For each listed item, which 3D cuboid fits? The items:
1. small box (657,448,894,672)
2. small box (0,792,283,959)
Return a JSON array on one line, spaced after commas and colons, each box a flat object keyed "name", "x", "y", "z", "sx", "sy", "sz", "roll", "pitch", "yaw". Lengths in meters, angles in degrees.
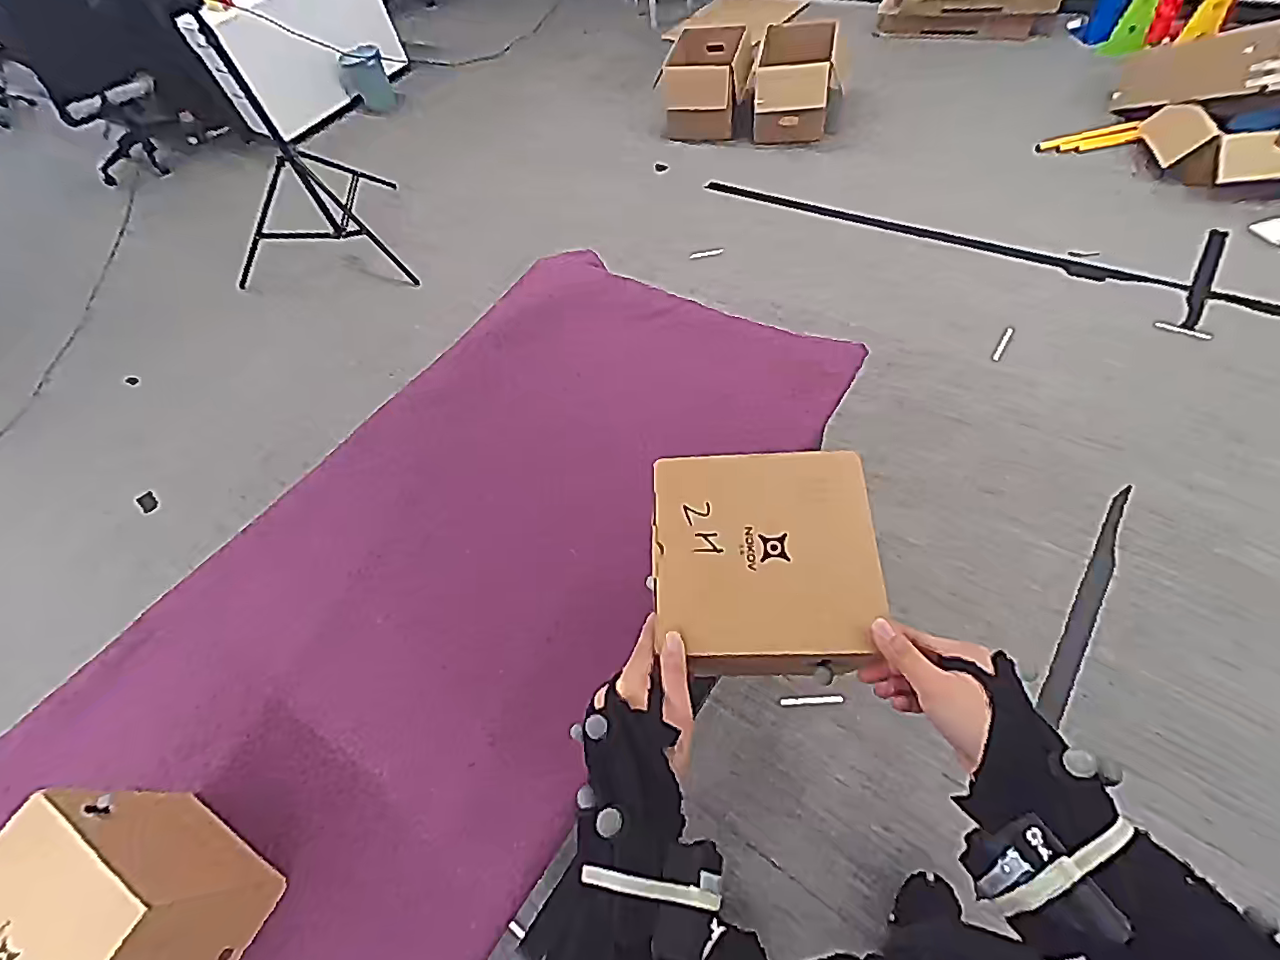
[{"name": "small box", "x": 0.108, "y": 0.083, "z": 0.503, "sx": 0.179, "sy": 0.176, "sz": 0.168, "roll": -2, "pitch": 65, "yaw": 6}, {"name": "small box", "x": -0.477, "y": 0.406, "z": 0.483, "sx": 0.179, "sy": 0.176, "sz": 0.168, "roll": 20, "pitch": 63, "yaw": 21}]
